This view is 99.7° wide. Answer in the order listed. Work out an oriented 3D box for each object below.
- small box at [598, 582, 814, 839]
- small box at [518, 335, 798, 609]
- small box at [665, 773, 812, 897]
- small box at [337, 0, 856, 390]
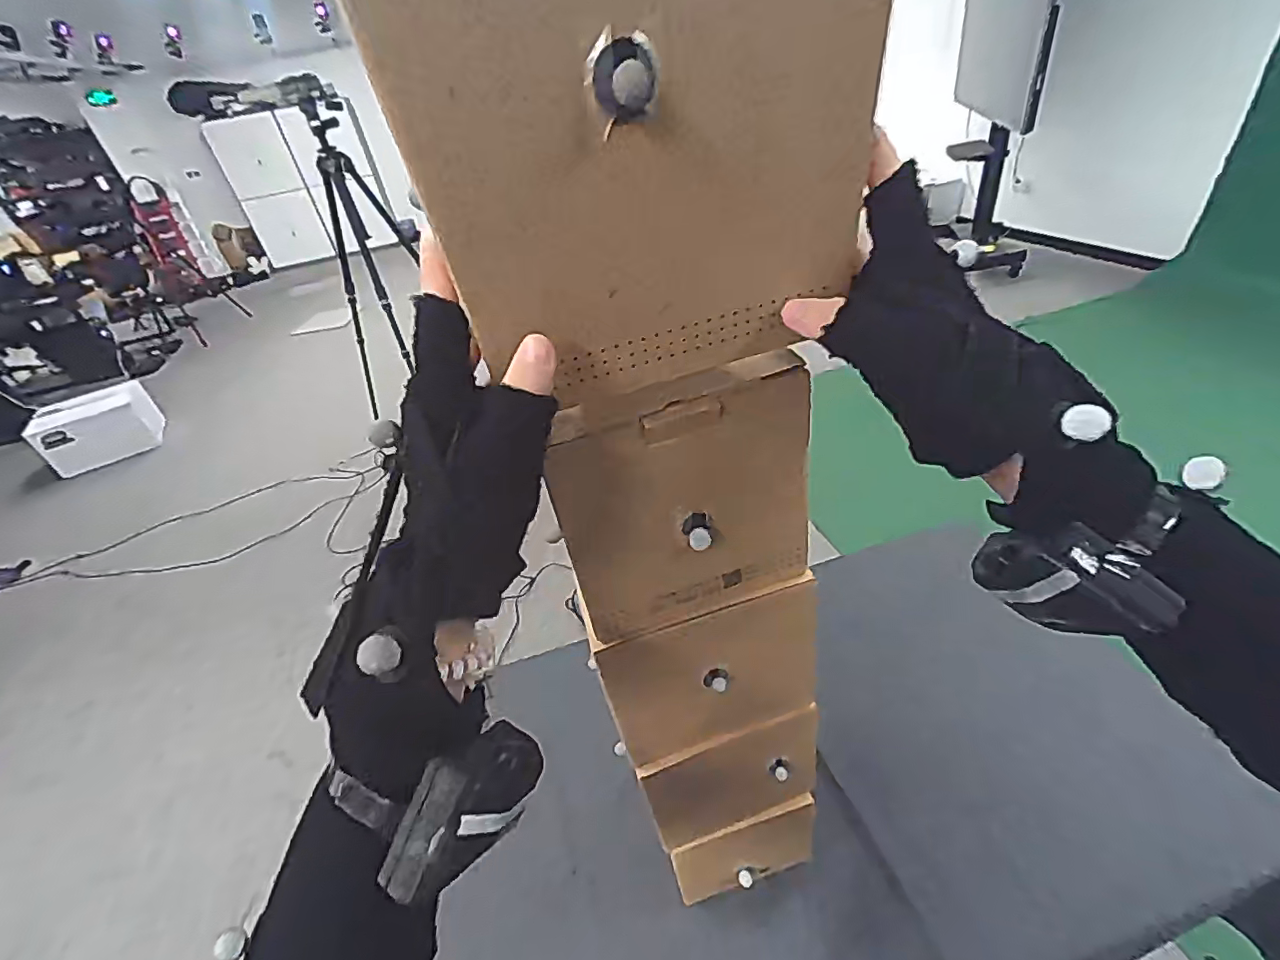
[{"bbox_3d":[0.068,0.247,0.590,0.179,0.176,0.168,-17,35,-8],"label":"small box"},{"bbox_3d":[0.009,-0.024,0.416,0.168,0.176,0.179,-17,36,-8],"label":"small box"},{"bbox_3d":[0.098,0.377,0.684,0.168,0.176,0.179,-16,37,-6],"label":"small box"},{"bbox_3d":[-0.014,-0.167,0.261,0.179,0.176,0.168,-17,48,-5],"label":"small box"}]
